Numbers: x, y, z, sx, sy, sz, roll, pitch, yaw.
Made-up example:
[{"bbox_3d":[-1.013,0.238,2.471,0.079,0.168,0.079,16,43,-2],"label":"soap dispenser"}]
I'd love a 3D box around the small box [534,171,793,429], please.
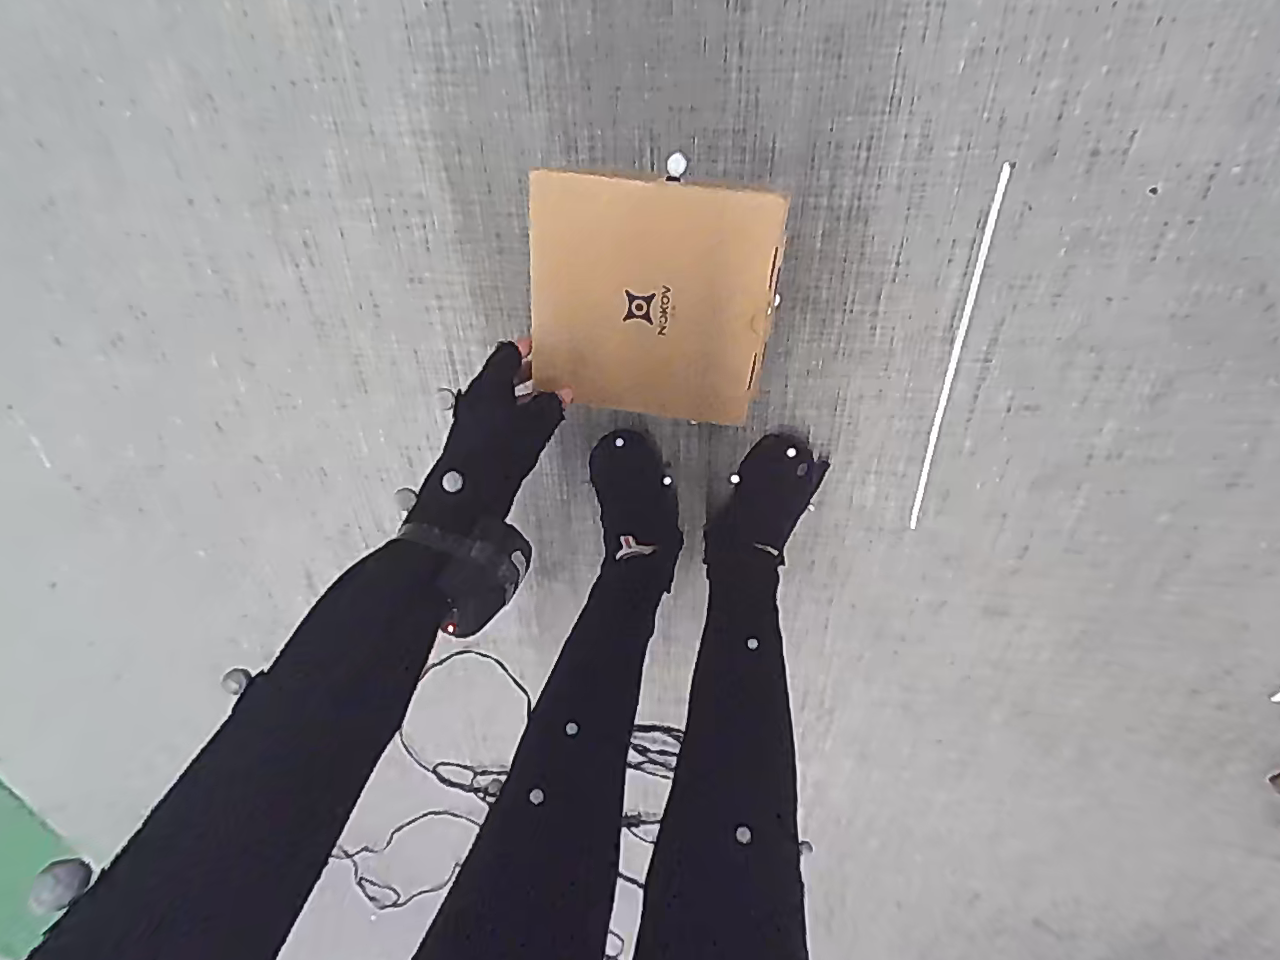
[{"bbox_3d":[0.018,-0.161,0.465,0.179,0.176,0.168,8,120,4],"label":"small box"}]
